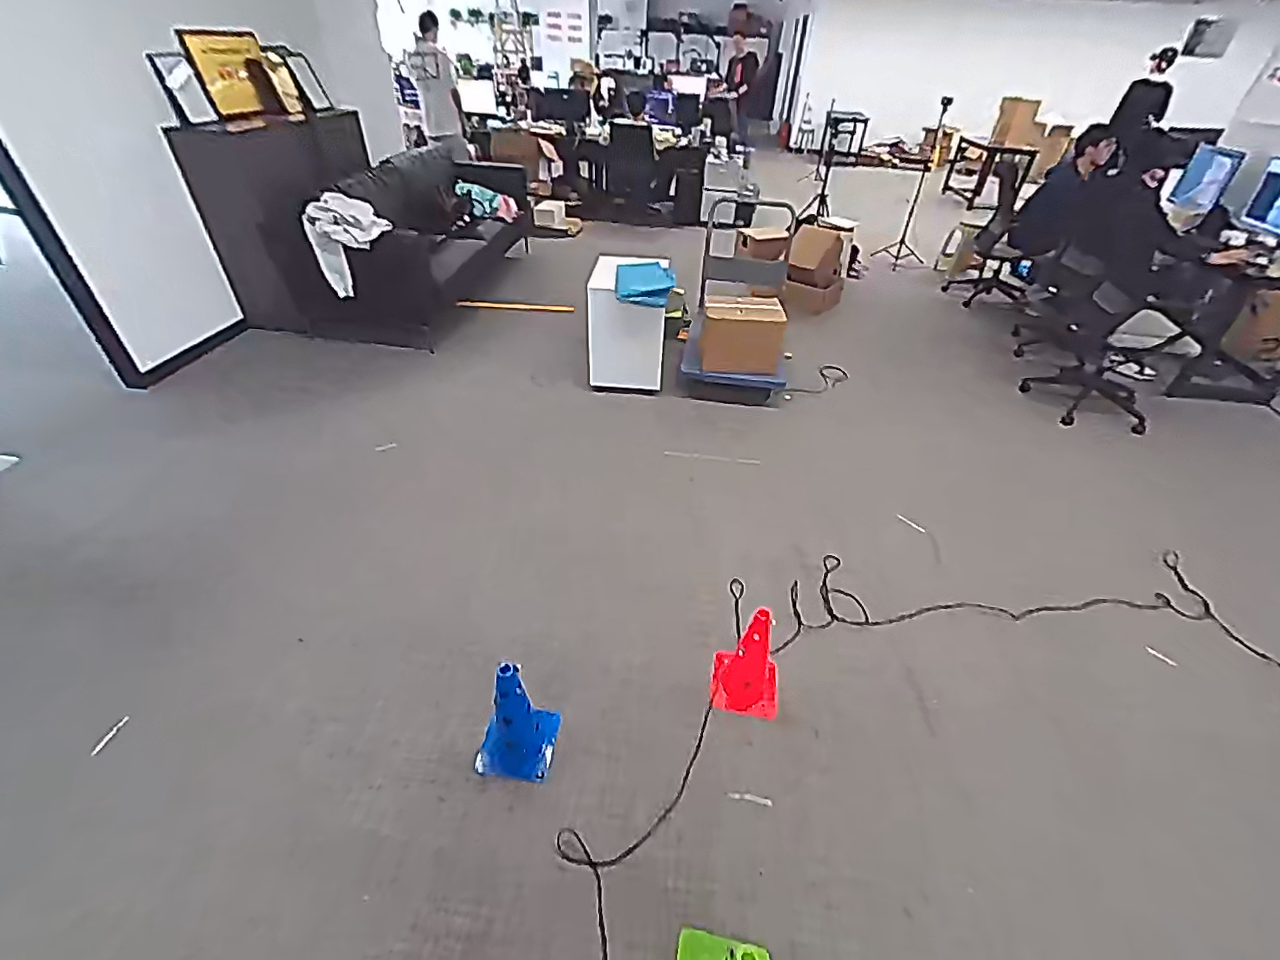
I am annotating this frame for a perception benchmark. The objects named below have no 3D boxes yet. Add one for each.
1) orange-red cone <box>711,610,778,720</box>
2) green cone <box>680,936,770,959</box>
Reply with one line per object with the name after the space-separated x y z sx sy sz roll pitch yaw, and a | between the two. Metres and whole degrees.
0.330 0.505 1.570 0.198 0.360 0.199 9 40 10 | orange-red cone
0.181 0.940 1.001 0.200 0.368 0.202 9 37 7 | green cone
